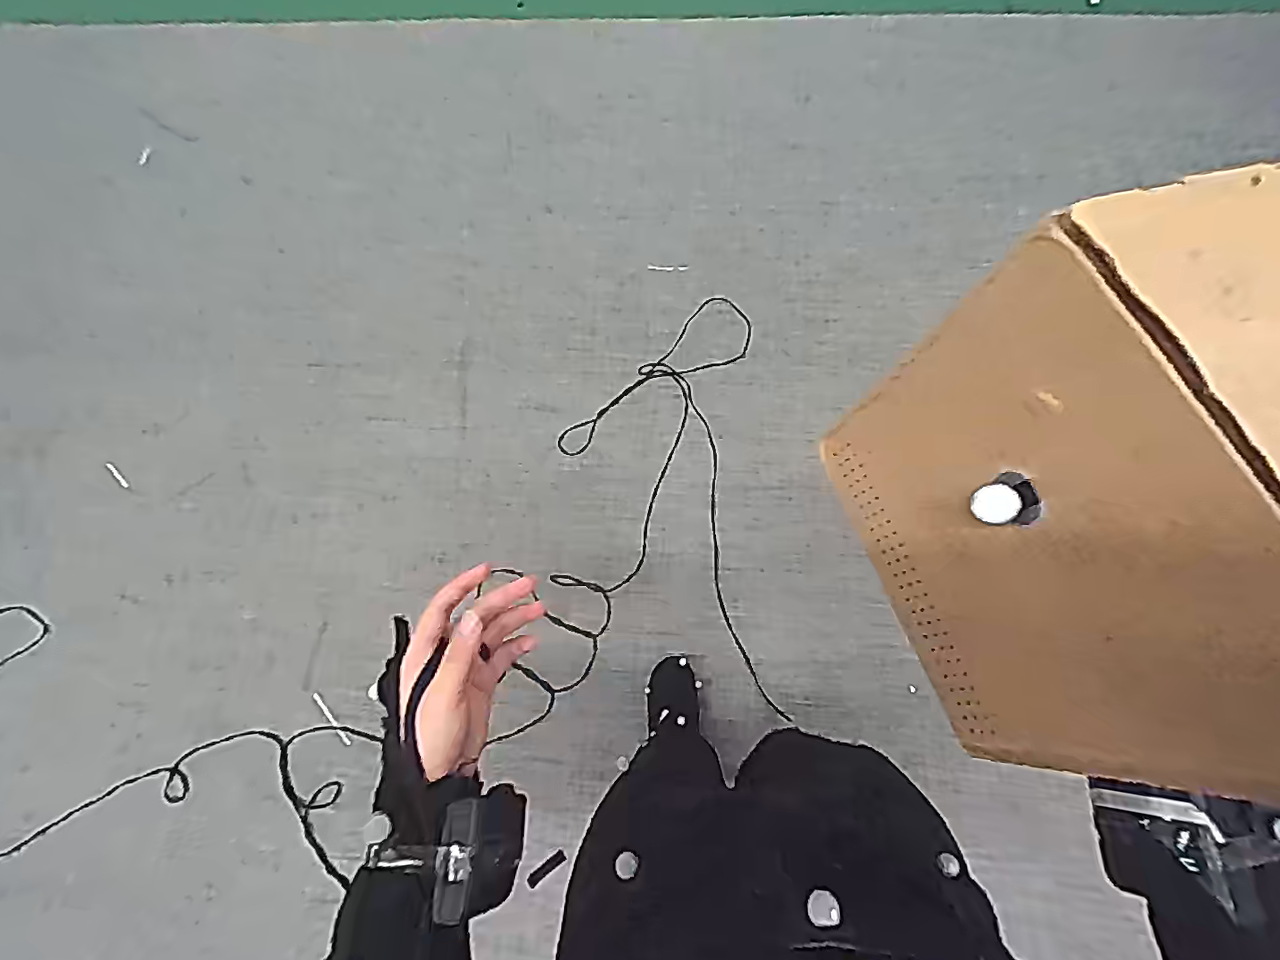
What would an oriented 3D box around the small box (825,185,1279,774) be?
[{"bbox_3d":[0.214,0.009,0.237,0.168,0.176,0.179,-17,71,-14],"label":"small box"}]
